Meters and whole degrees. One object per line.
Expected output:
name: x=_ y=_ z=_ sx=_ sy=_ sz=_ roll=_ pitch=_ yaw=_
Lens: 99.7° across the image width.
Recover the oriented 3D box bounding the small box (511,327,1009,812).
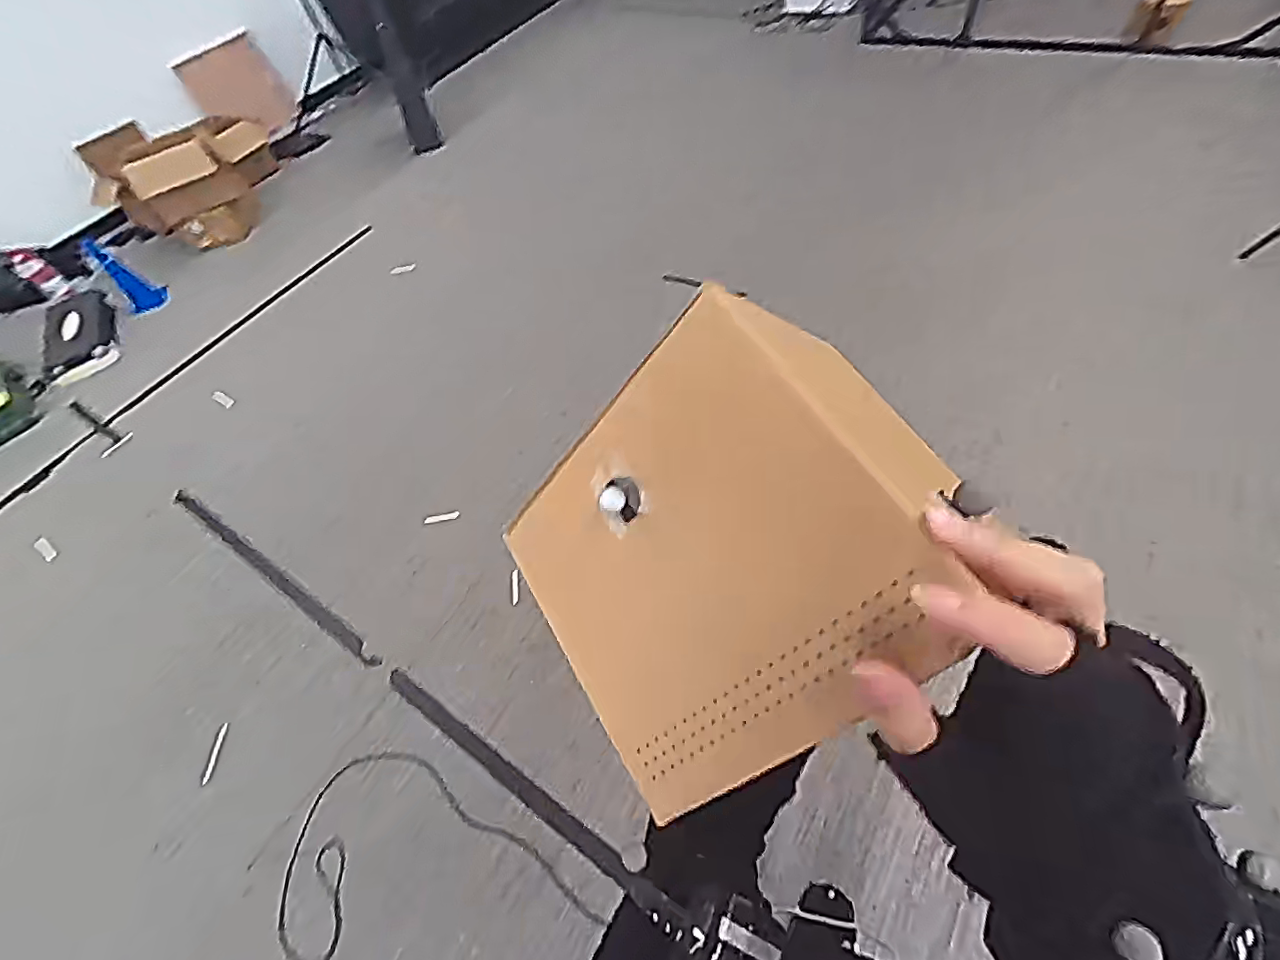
small box: x=0.065 y=0.048 z=0.309 sx=0.179 sy=0.168 sz=0.176 roll=-46 pitch=67 yaw=27
